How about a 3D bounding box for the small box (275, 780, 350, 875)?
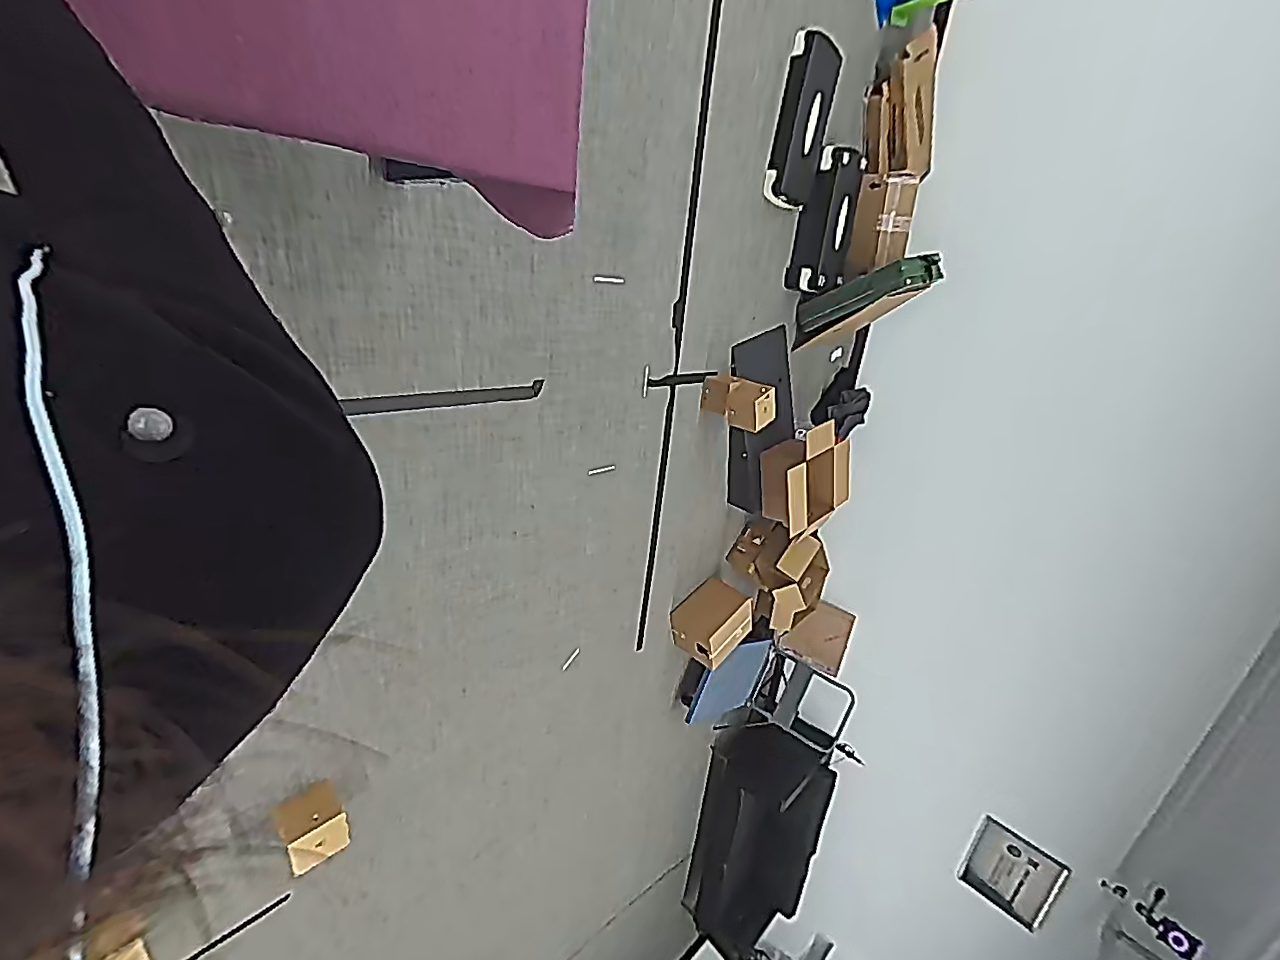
[{"bbox_3d":[-1.136,1.192,1.868,0.179,0.176,0.168,-19,122,-44],"label":"small box"}]
